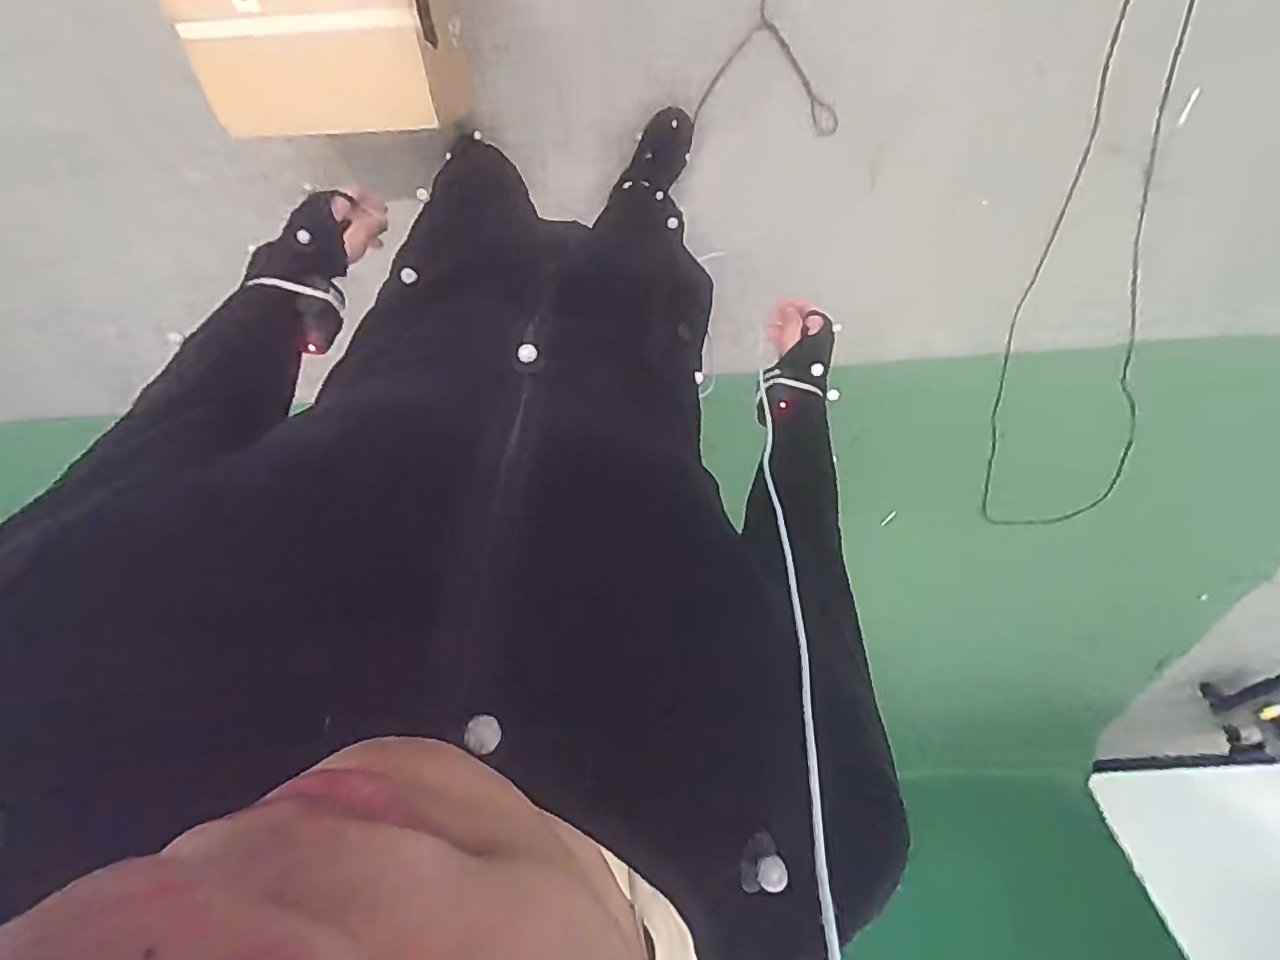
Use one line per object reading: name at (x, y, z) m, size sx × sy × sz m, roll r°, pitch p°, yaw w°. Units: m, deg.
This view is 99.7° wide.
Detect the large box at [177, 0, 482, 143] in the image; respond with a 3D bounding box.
large box at (-0.567, -0.862, 1.036) m, size 0.408 × 0.320 × 0.320 m, roll -1°, pitch 129°, yaw 2°
